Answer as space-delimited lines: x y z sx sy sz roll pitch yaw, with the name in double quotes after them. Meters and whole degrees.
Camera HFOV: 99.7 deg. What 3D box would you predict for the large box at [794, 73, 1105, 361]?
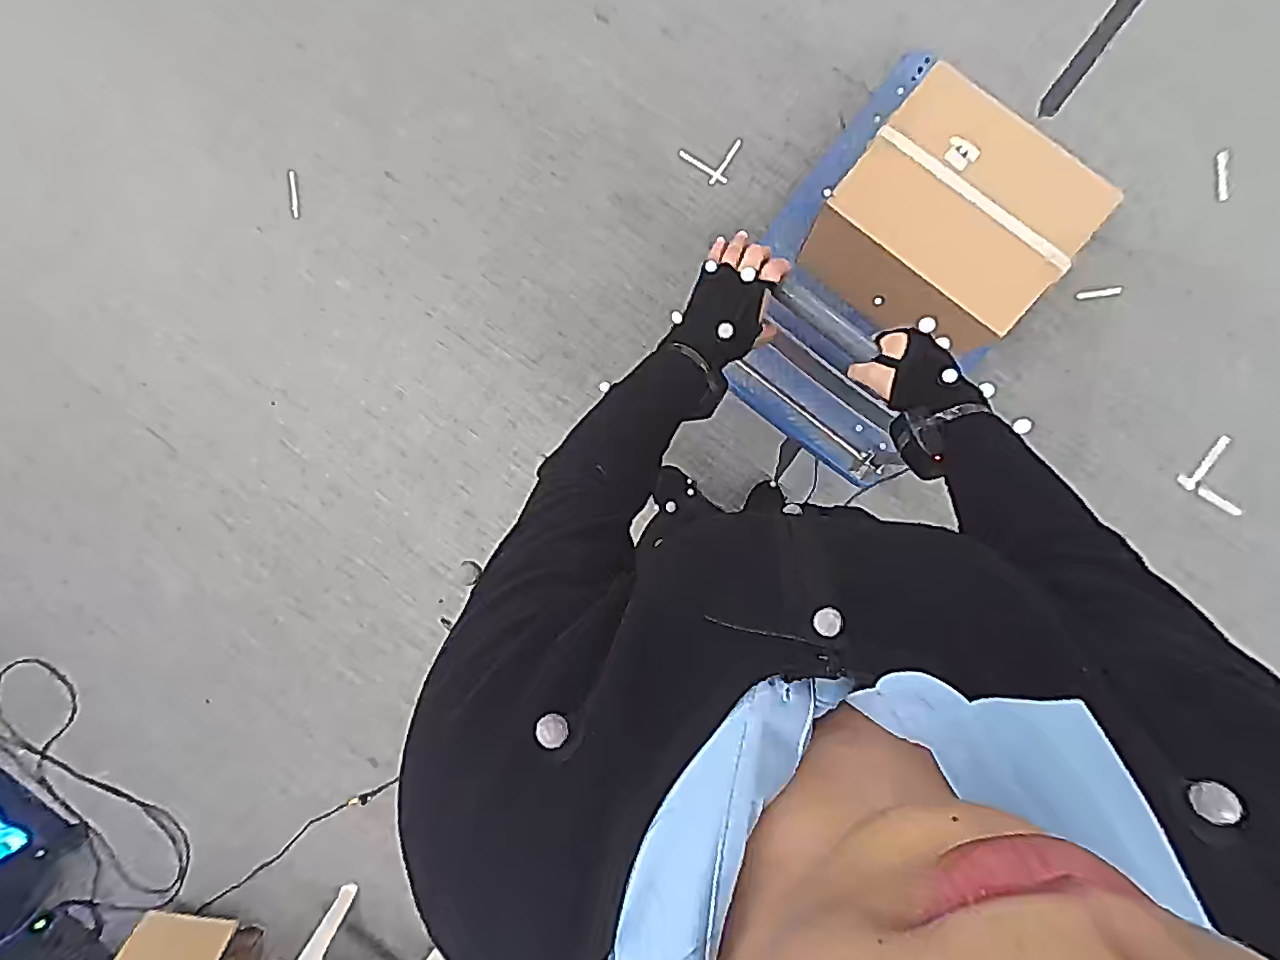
0.597 -0.509 1.131 0.408 0.320 0.320 39 94 5 "large box"
